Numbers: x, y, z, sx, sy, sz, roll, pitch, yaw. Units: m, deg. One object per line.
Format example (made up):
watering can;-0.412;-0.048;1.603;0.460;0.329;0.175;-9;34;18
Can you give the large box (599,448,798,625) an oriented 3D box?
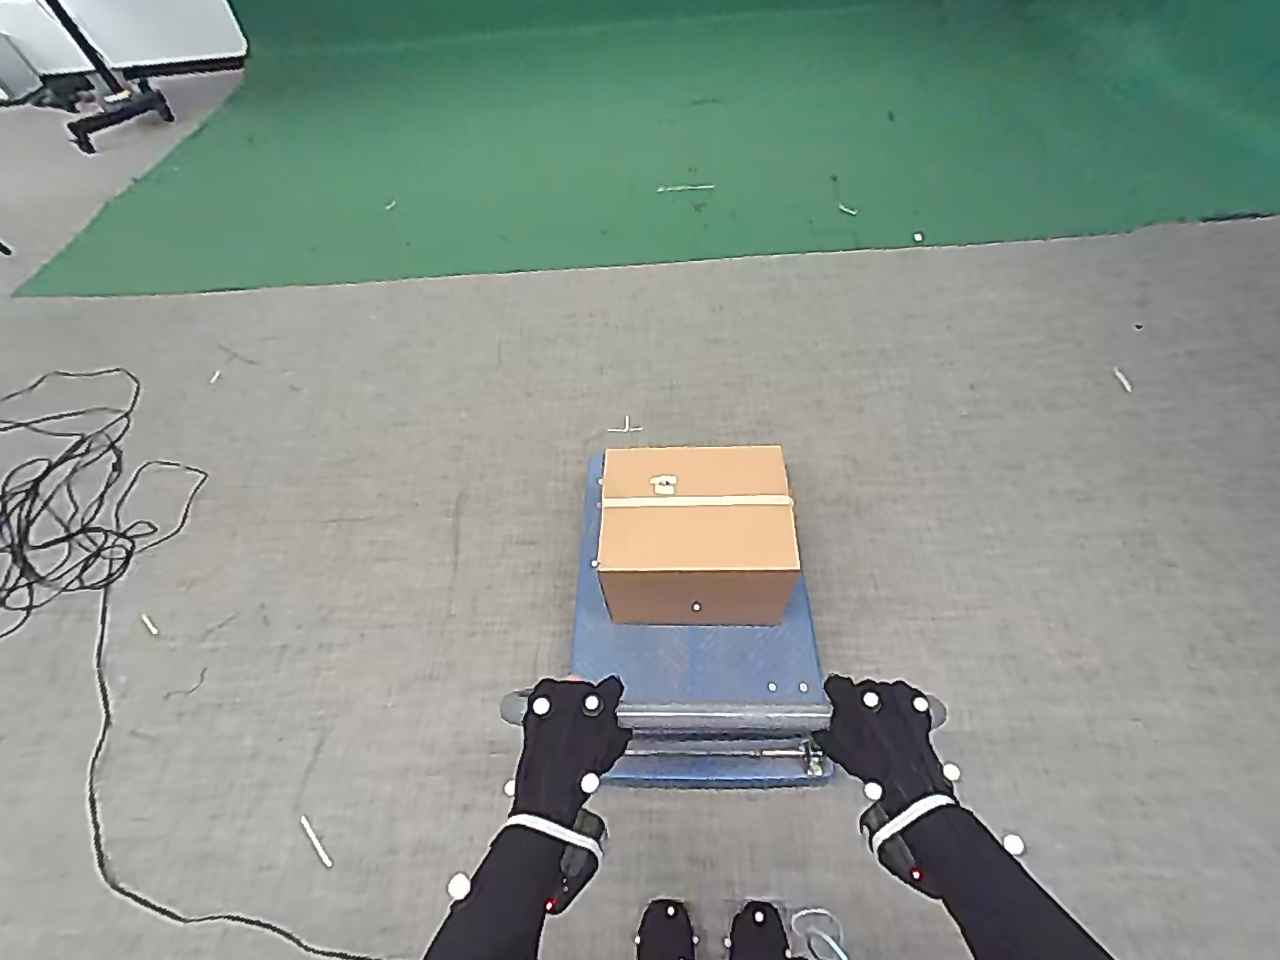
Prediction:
large box;0.129;0.144;1.286;0.408;0.320;0.320;-2;54;4
